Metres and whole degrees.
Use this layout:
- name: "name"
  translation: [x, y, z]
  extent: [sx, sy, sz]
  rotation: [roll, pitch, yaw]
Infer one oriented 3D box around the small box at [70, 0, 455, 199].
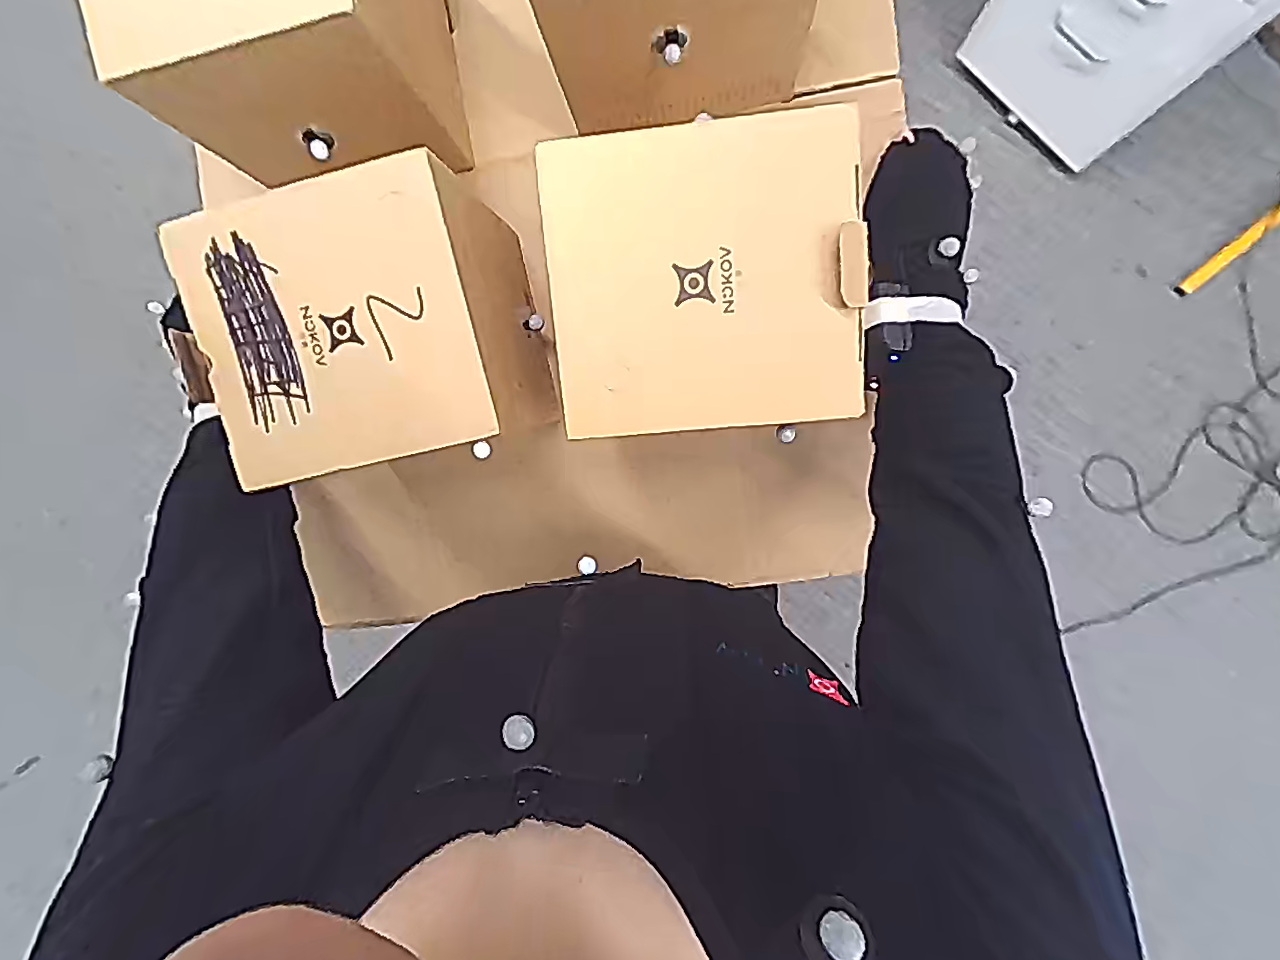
- name: "small box"
  translation: [-0.254, -0.331, 0.393]
  extent: [0.168, 0.176, 0.179]
  rotation: [-10, 91, 6]
